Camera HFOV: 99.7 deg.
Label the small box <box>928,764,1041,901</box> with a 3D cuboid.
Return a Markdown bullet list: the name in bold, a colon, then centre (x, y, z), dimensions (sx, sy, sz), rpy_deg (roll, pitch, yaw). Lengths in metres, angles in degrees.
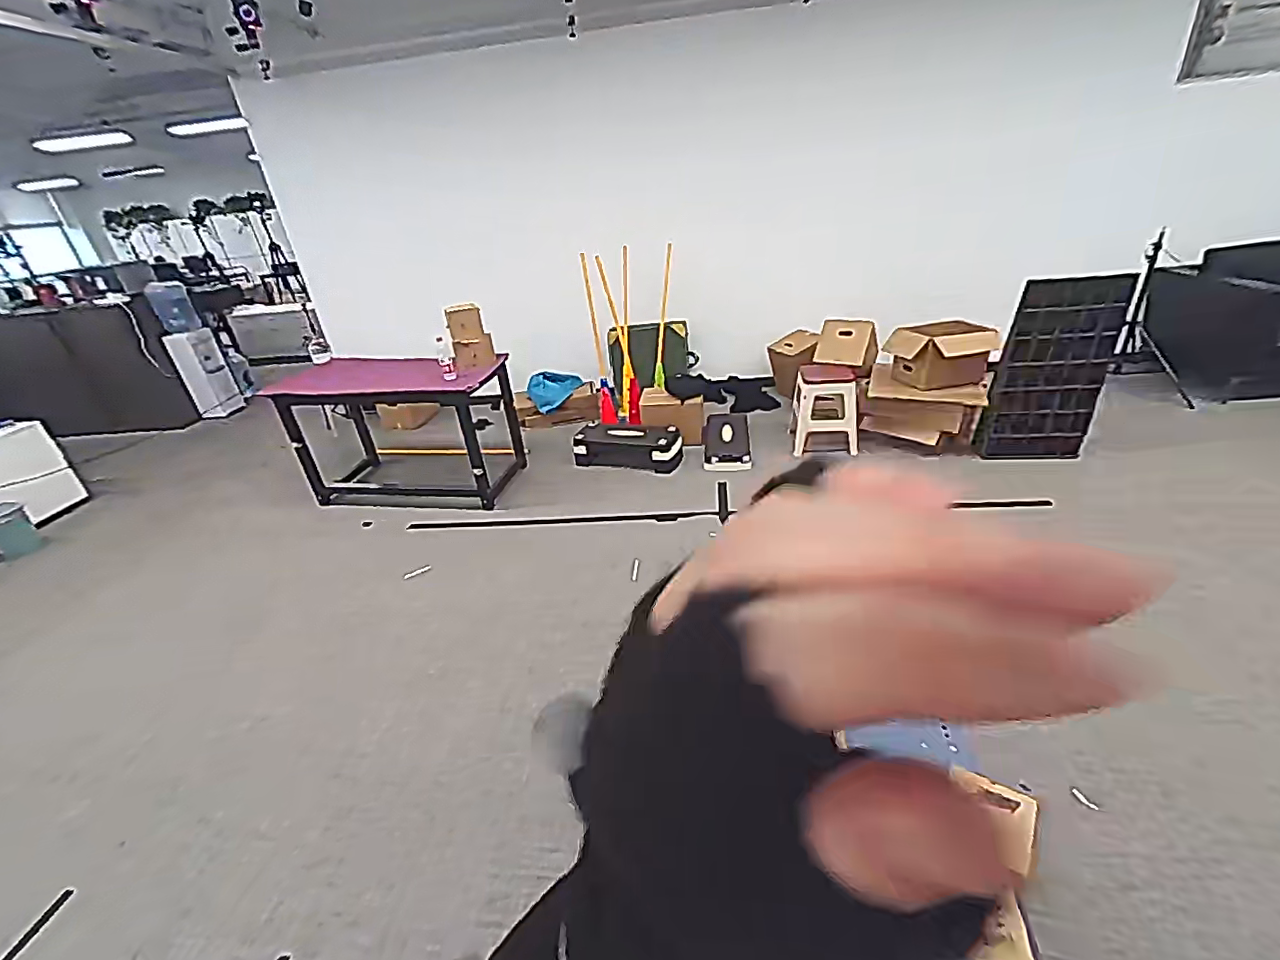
- **small box**: centre (0.734, 0.768, 1.160), dimensions (0.168, 0.176, 0.179), rpy_deg (15, 36, 35)

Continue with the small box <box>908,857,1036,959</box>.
- **small box**: centre (0.614, 0.859, 1.021), dimensions (0.179, 0.176, 0.168), rpy_deg (2, 30, 16)
